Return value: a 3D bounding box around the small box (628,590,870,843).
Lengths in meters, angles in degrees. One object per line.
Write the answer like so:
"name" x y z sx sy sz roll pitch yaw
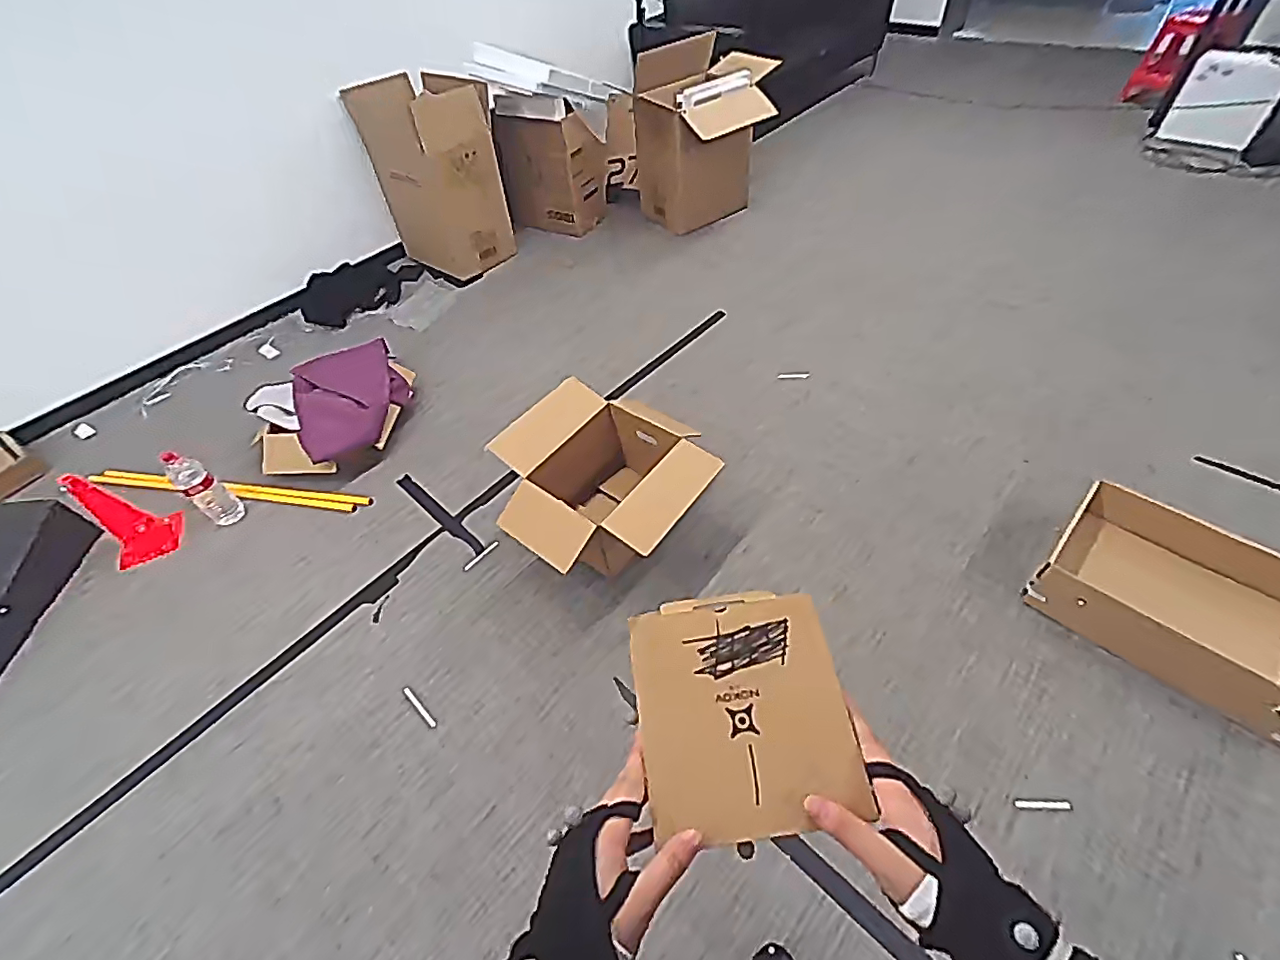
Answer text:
"small box" 0.081 0.221 0.502 0.168 0.176 0.179 -8 59 -1
